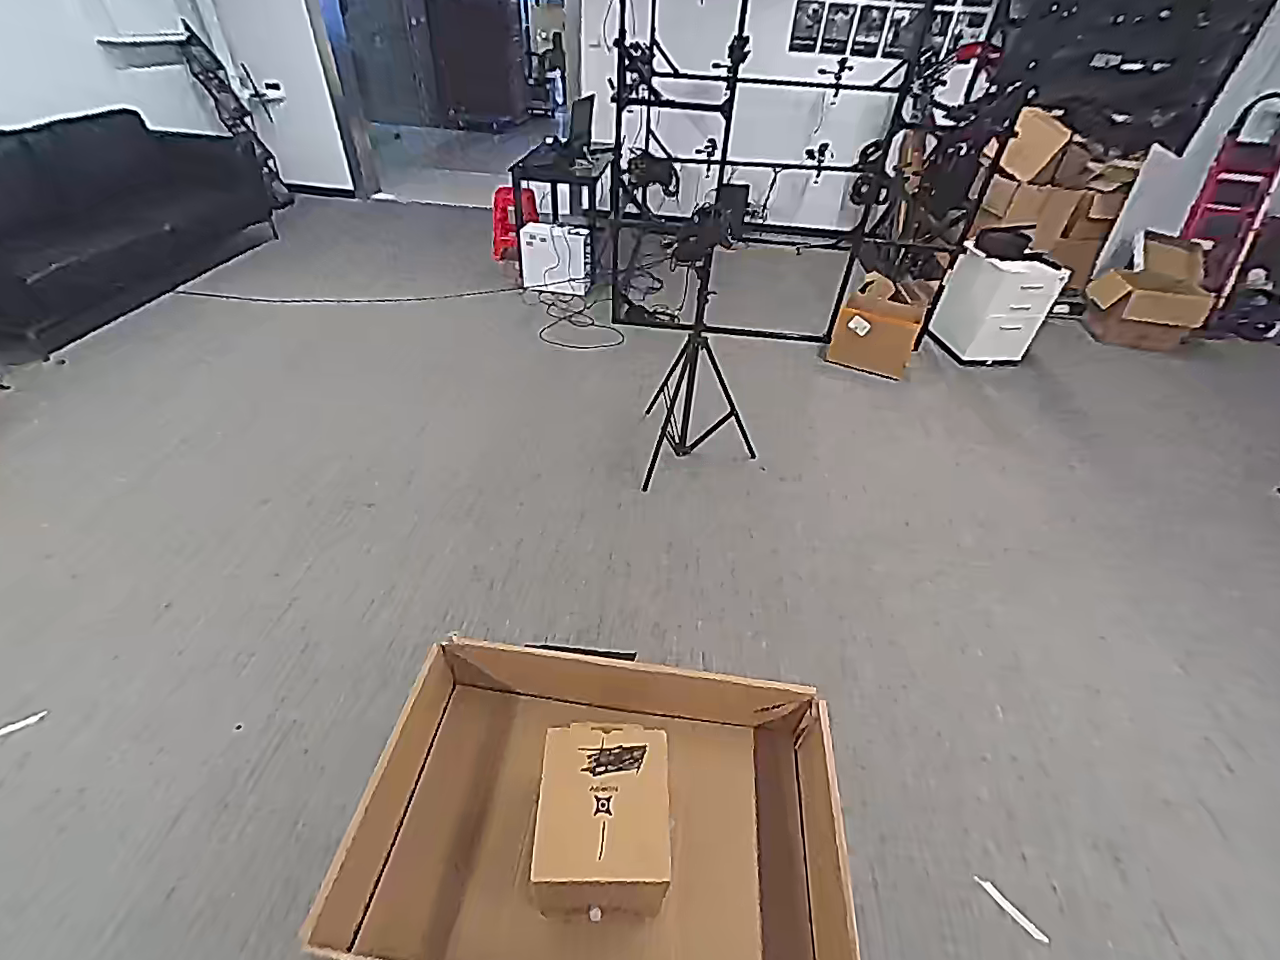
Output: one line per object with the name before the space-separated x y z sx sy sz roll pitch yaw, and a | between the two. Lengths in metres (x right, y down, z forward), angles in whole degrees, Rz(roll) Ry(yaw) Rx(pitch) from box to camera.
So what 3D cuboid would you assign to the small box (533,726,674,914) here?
small box | -0.047 0.459 0.733 0.168 0.176 0.179 2 42 -3
